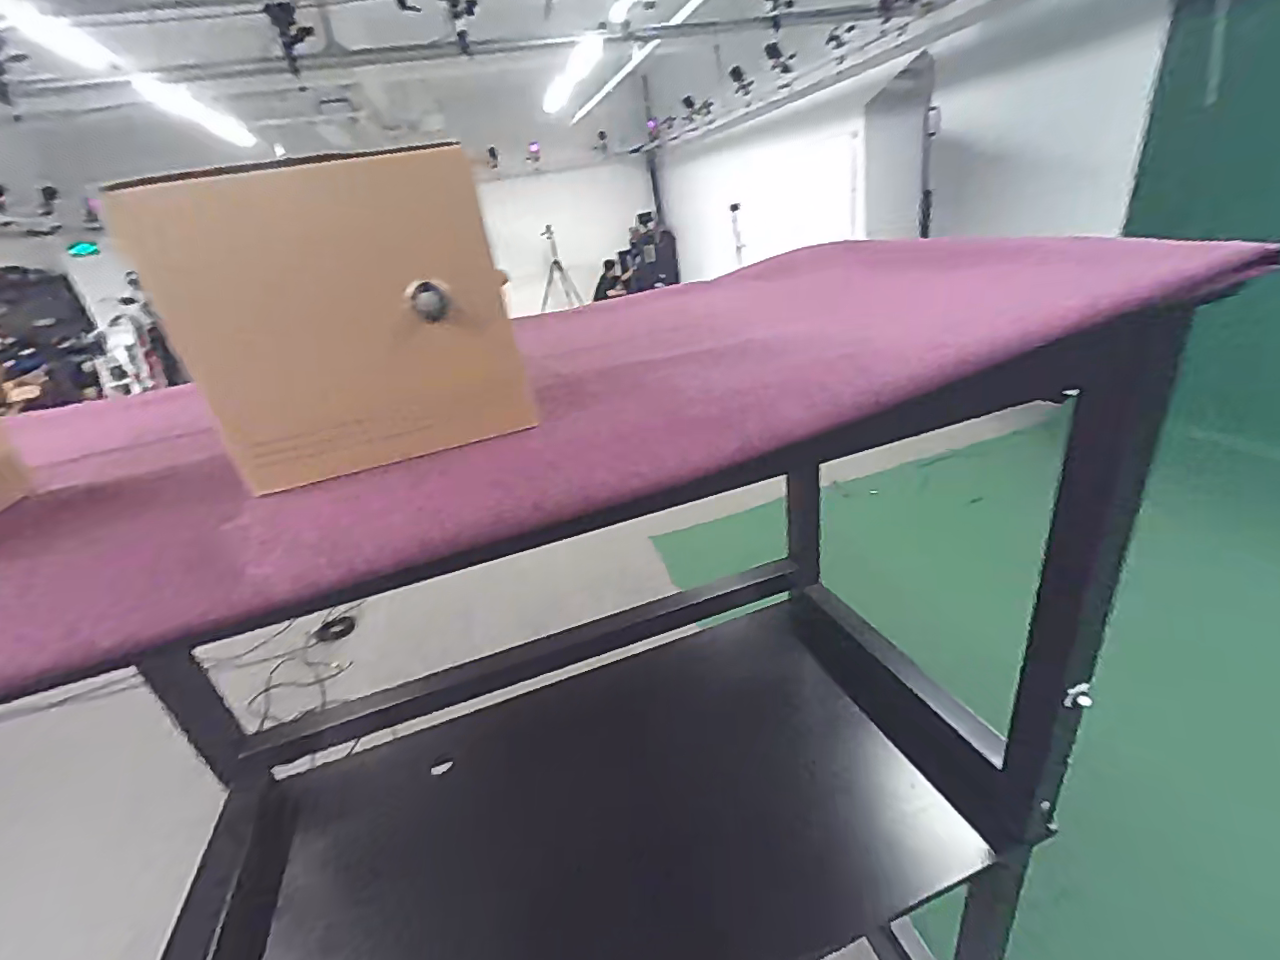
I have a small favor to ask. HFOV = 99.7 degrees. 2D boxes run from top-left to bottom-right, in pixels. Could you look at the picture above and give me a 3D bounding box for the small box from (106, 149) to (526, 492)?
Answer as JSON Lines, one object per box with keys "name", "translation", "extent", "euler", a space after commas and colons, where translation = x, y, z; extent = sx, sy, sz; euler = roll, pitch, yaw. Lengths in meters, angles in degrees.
{"name": "small box", "translation": [-0.186, -0.113, 0.379], "extent": [0.179, 0.176, 0.168], "euler": [-17, 26, -14]}
